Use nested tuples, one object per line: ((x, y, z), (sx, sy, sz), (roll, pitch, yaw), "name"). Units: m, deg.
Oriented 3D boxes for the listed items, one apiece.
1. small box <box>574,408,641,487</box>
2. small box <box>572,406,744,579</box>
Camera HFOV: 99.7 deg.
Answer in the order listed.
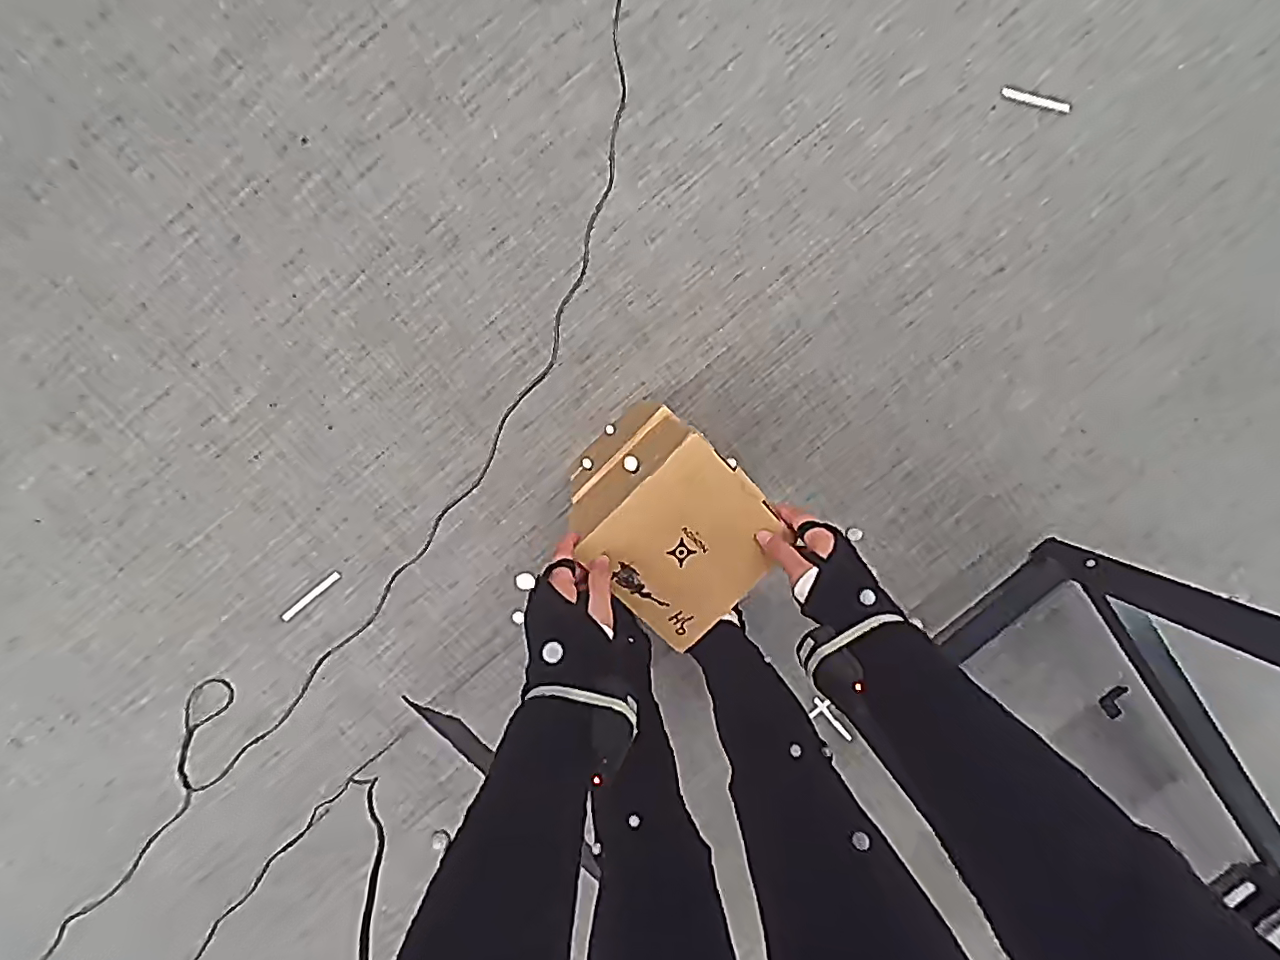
((-0.001, -0.013, 0.953), (0.179, 0.176, 0.168), (-43, 101, 3), "small box")
((0.018, 0.009, 0.794), (0.168, 0.176, 0.179), (42, 92, -12), "small box")
